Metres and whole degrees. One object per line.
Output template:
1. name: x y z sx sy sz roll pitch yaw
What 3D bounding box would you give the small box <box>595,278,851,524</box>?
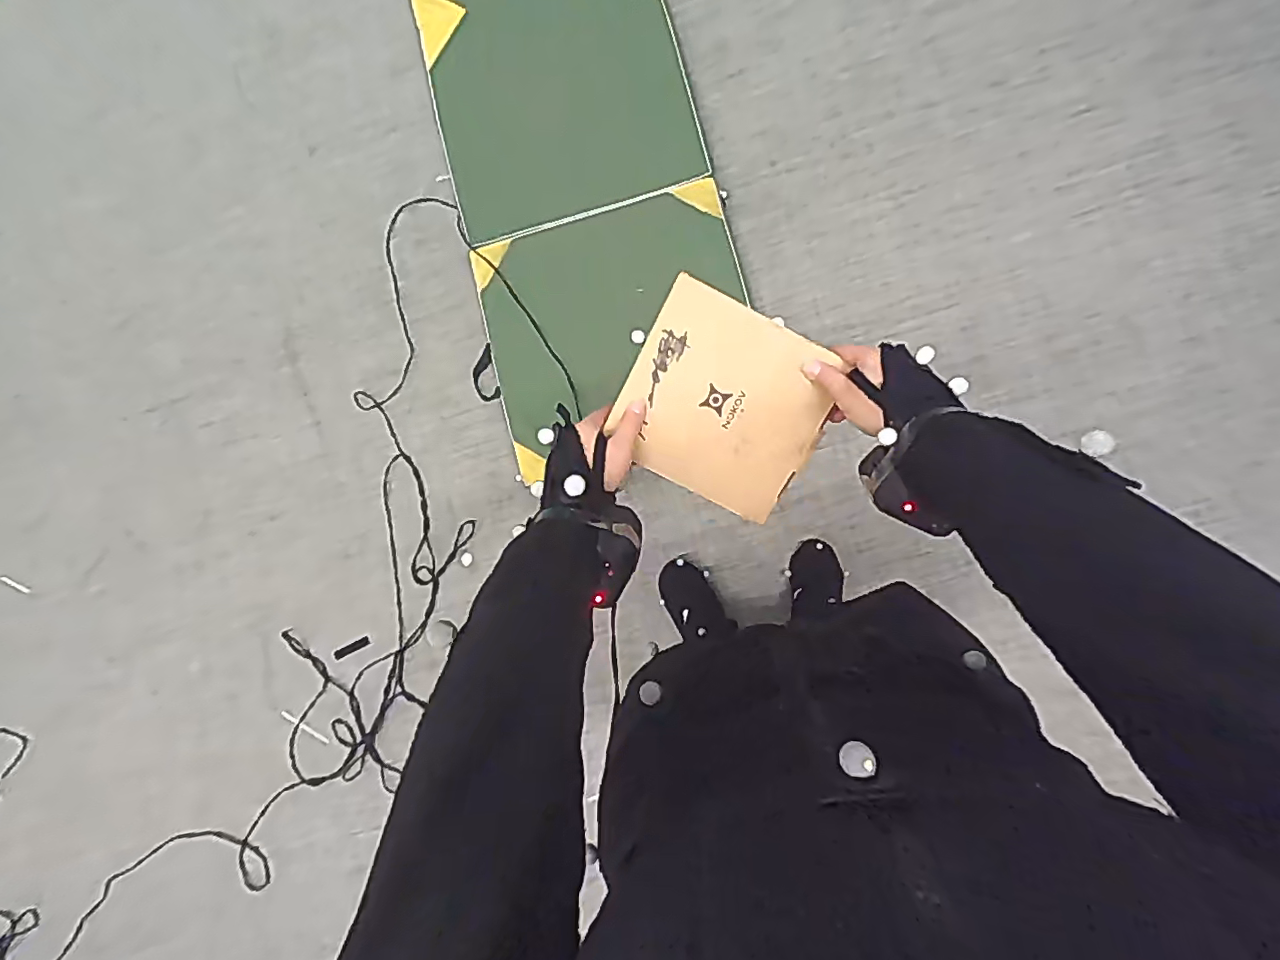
1. small box: 0.075 -0.085 0.559 0.179 0.176 0.168 27 103 -4
